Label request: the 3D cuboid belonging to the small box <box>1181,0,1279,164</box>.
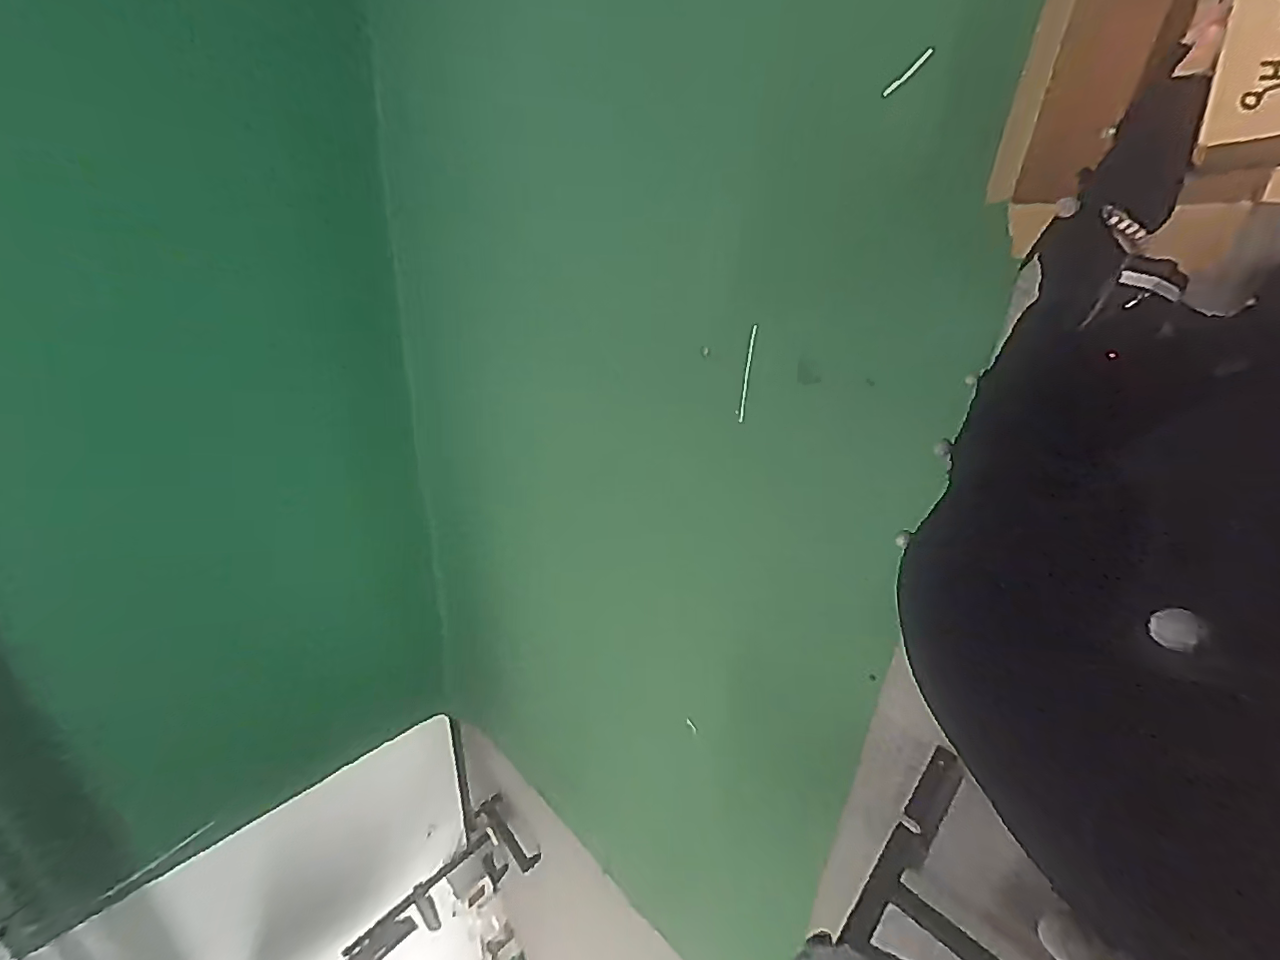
[{"bbox_3d":[0.468,-0.302,0.323,0.179,0.176,0.168,14,115,39],"label":"small box"}]
